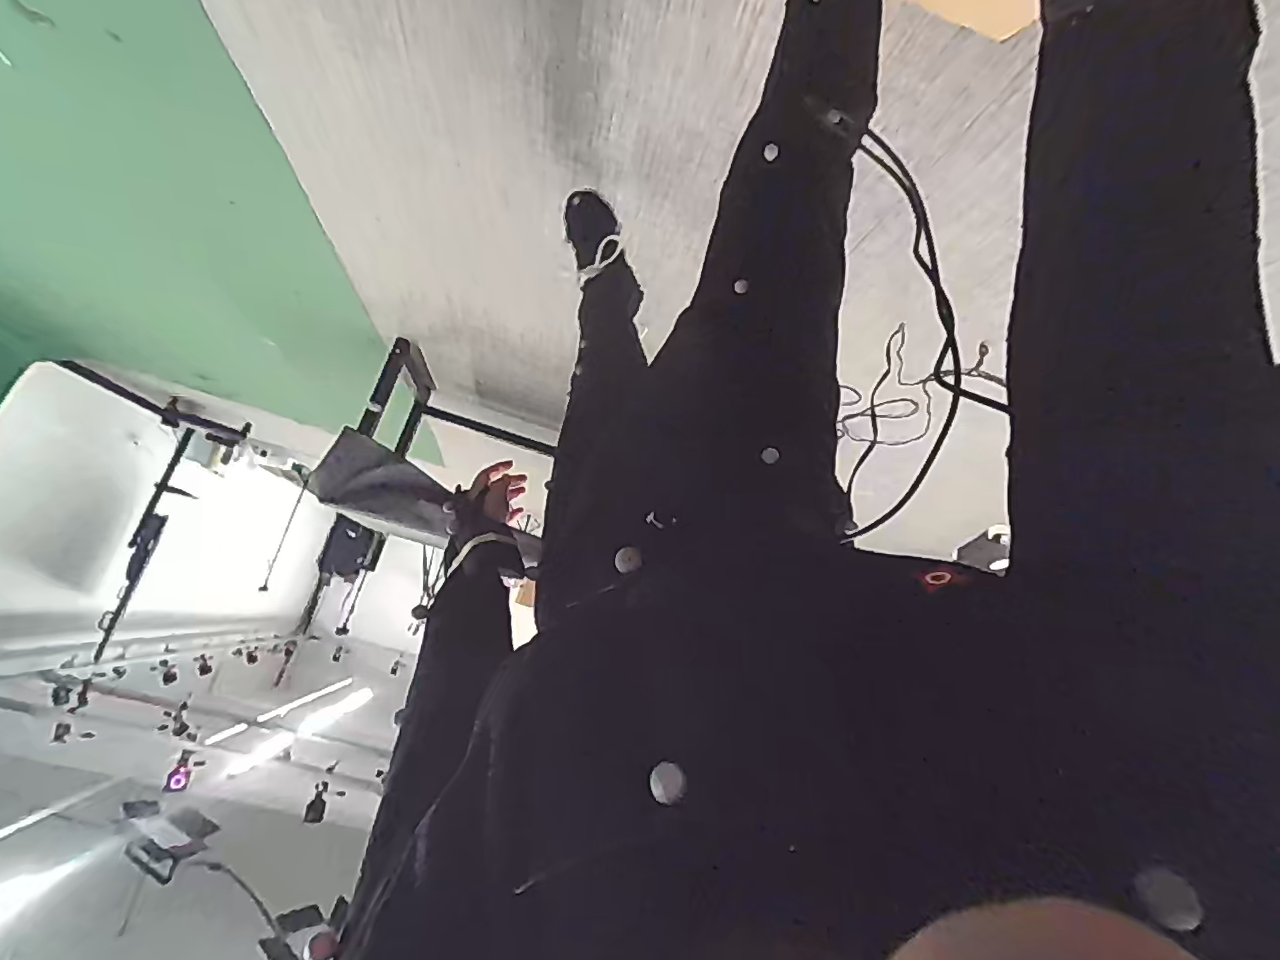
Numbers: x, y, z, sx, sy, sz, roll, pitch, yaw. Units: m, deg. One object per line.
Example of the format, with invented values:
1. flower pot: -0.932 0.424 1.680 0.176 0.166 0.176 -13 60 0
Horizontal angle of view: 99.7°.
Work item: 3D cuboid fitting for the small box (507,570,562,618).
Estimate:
1. small box: -0.452 0.485 2.320 0.179 0.176 0.168 19 163 -16
